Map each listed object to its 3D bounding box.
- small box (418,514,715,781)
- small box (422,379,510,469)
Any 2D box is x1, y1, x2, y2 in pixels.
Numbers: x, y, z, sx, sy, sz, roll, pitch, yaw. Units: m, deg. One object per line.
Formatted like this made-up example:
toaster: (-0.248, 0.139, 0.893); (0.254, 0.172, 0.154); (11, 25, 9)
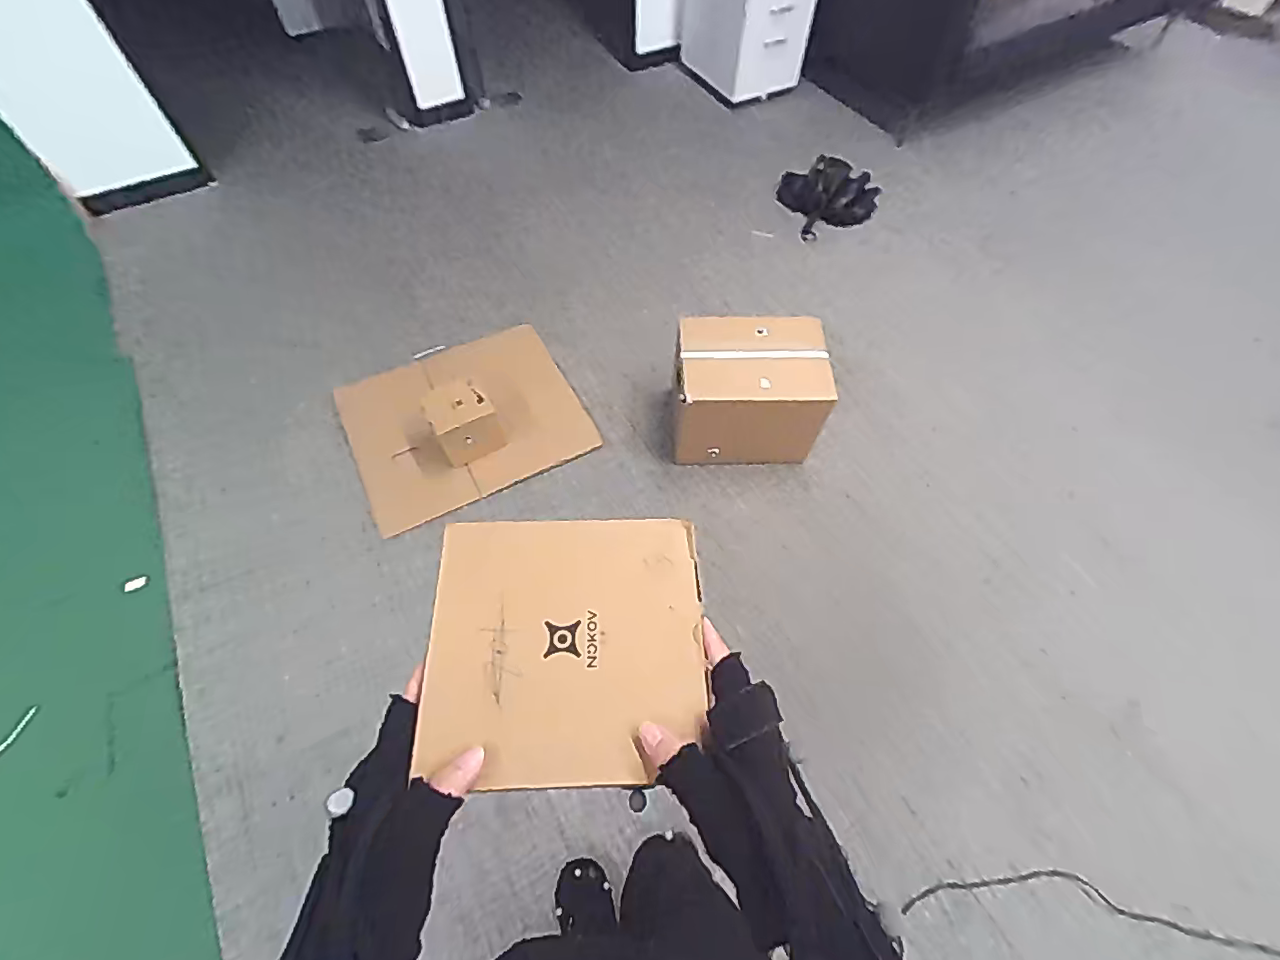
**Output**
small box: (-0.048, 0.137, 0.423); (0.179, 0.176, 0.168); (-2, 59, -2)
small box: (-0.516, -0.162, 1.622); (0.179, 0.176, 0.168); (-30, 62, -16)
